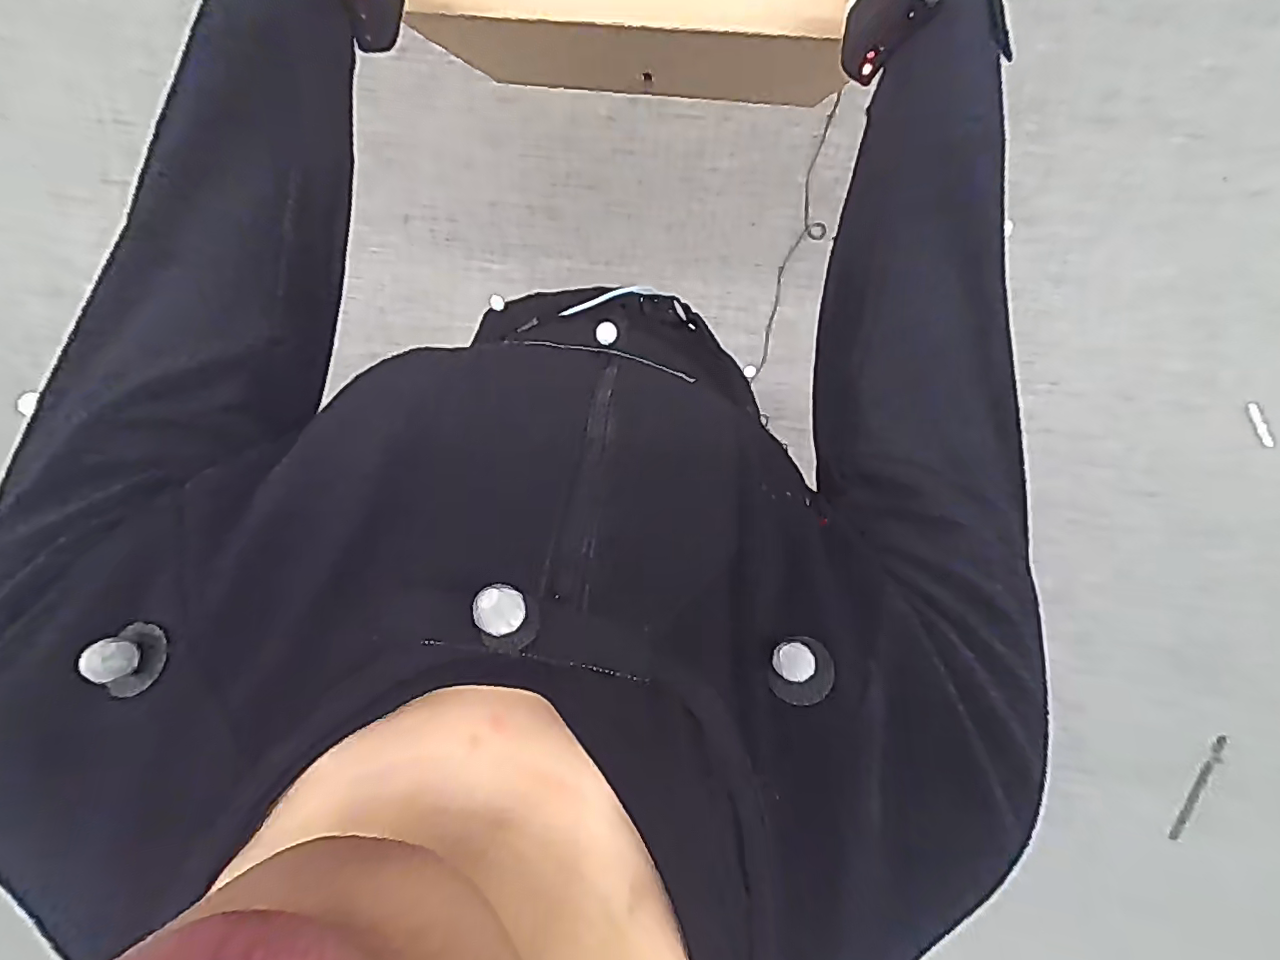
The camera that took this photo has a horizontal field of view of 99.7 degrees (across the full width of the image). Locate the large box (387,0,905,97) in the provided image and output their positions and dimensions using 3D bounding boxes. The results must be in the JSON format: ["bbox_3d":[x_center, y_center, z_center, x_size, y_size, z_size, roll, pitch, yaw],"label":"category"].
[{"bbox_3d":[0.020,-0.553,0.479,0.408,0.320,0.320,6,117,2],"label":"large box"}]
